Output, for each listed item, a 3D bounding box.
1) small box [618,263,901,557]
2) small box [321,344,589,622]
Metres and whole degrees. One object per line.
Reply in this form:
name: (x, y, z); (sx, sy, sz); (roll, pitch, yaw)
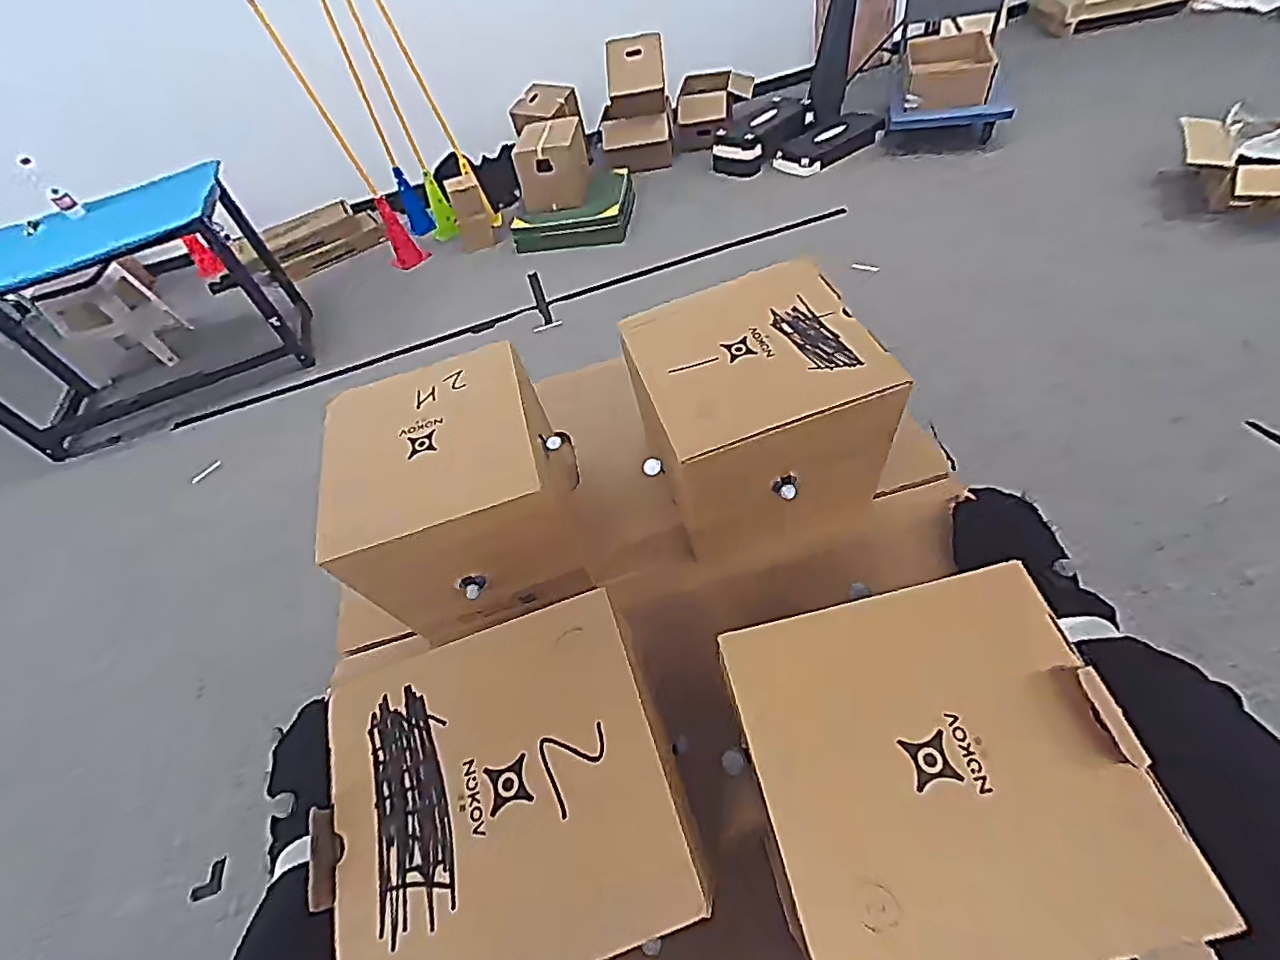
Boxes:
small box: (0.095, -0.056, 0.489); (0.179, 0.176, 0.168); (-19, 55, -1)
small box: (-0.155, 0.014, 0.495); (0.168, 0.176, 0.179); (-18, 54, -1)
